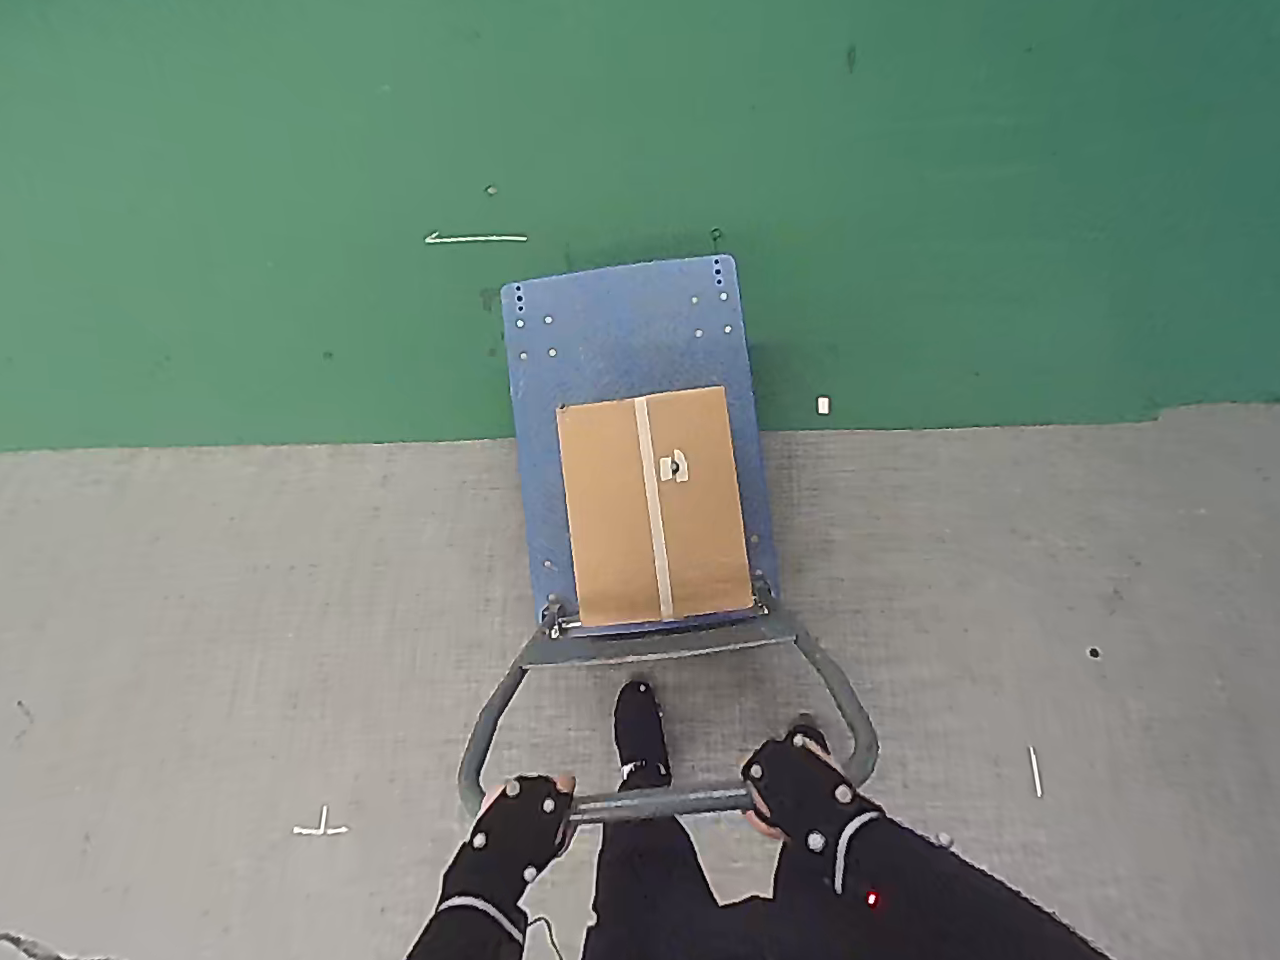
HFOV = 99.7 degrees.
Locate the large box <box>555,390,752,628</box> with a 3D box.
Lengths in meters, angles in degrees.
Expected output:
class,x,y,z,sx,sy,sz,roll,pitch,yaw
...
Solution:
class,x,y,z,sx,sy,sz,roll,pitch,yaw
large box,0.029,0.059,1.128,0.320,0.320,0.408,-8,88,1
